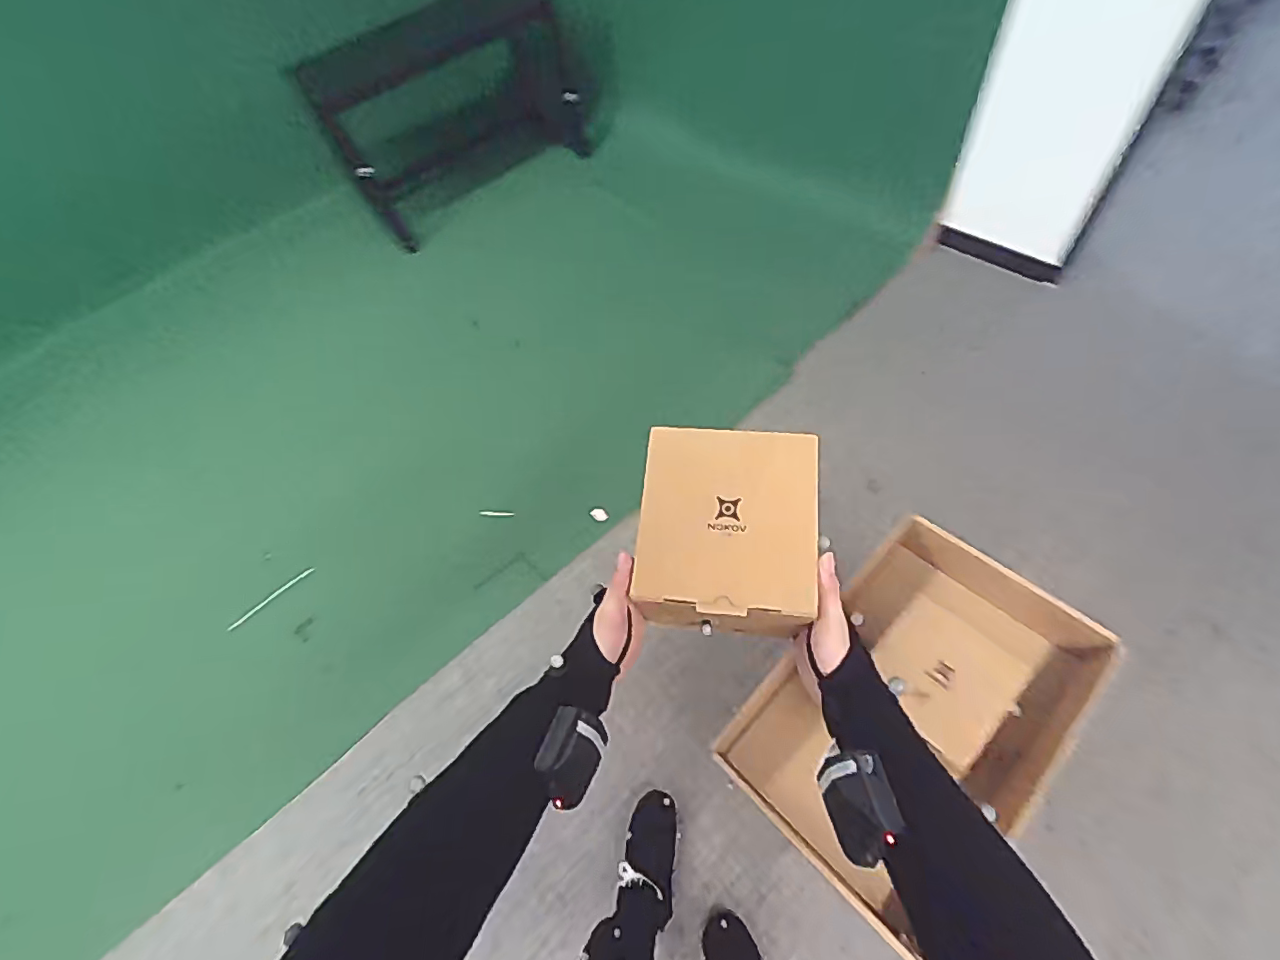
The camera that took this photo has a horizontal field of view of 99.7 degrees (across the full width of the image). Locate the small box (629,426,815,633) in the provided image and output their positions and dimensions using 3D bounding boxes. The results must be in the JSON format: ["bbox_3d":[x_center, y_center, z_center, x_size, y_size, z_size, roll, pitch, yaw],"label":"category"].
[{"bbox_3d":[0.084,0.060,0.574,0.168,0.176,0.179,3,70,6],"label":"small box"}]

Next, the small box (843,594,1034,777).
[{"bbox_3d":[0.427,0.309,0.807,0.179,0.176,0.168,-42,60,-16],"label":"small box"}]

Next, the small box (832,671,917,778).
[{"bbox_3d":[0.459,0.391,0.948,0.179,0.176,0.168,-40,60,-17],"label":"small box"}]
